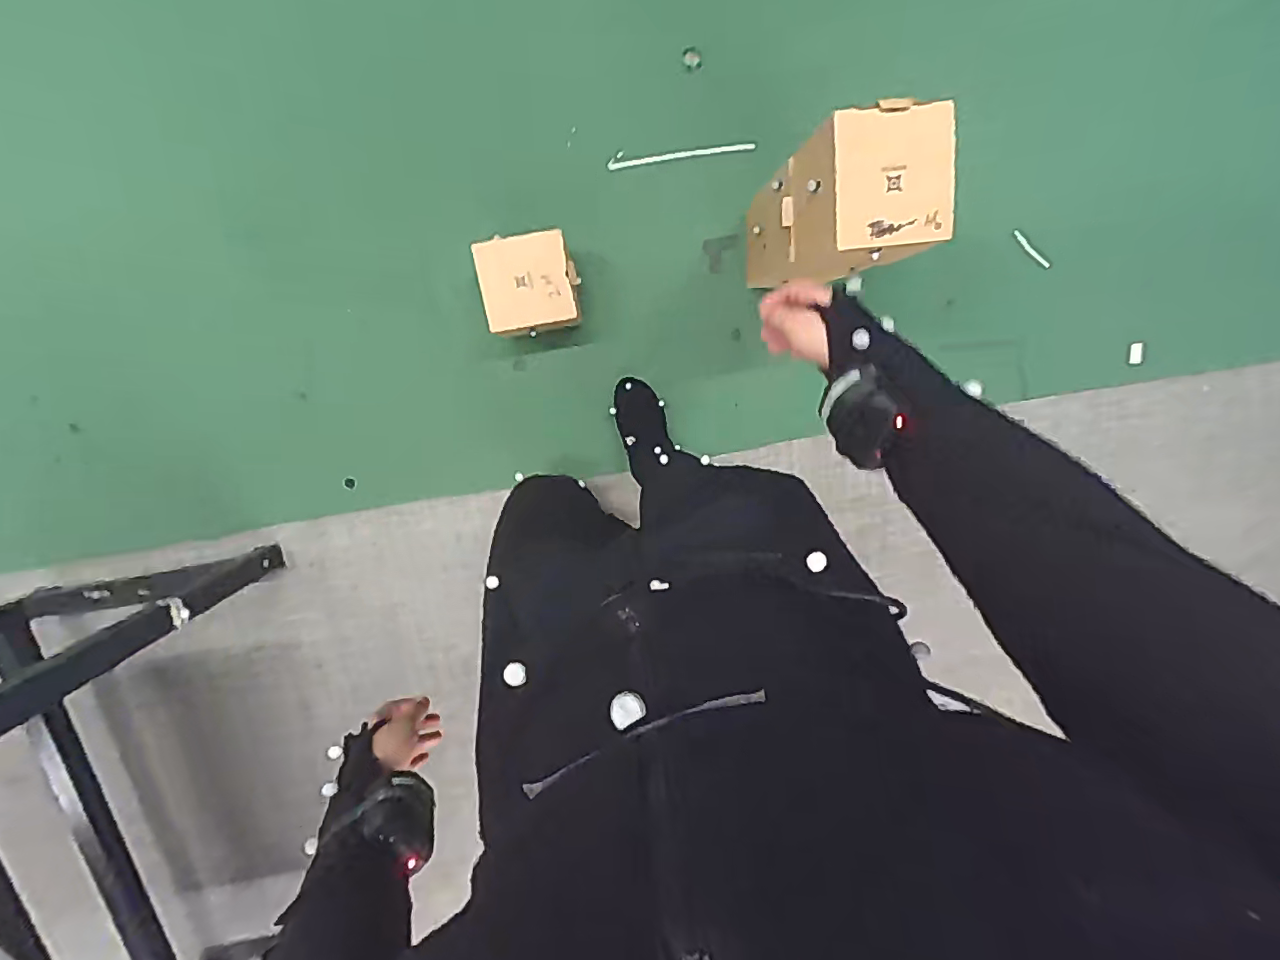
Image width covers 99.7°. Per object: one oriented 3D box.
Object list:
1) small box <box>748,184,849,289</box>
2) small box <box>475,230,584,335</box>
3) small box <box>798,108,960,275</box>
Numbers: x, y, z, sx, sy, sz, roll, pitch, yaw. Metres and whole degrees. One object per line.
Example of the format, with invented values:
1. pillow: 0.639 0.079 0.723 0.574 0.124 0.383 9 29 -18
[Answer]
1. small box: 0.328 -0.496 1.124 0.168 0.176 0.179 -2 102 -3
2. small box: -0.216 -0.395 1.109 0.179 0.176 0.168 -10 104 -1
3. small box: 0.343 -0.416 0.805 0.168 0.176 0.179 -6 102 -3
